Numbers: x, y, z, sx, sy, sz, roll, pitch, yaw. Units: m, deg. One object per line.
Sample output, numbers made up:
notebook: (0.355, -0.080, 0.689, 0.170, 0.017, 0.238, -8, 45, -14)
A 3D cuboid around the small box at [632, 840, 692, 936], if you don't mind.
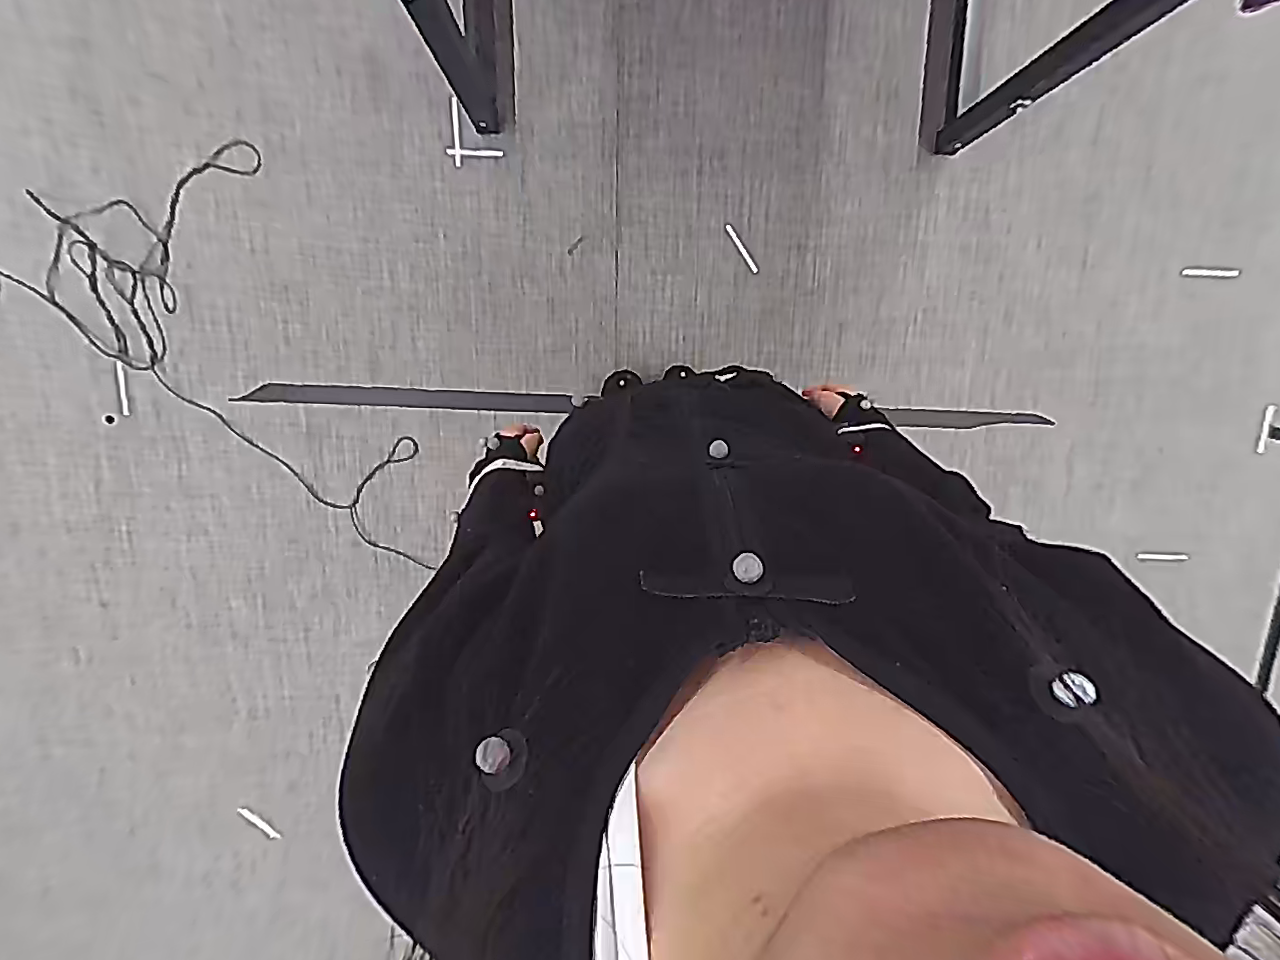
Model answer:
small box: (0.063, 1.246, 1.660, 0.168, 0.176, 0.179, 3, 102, -2)
